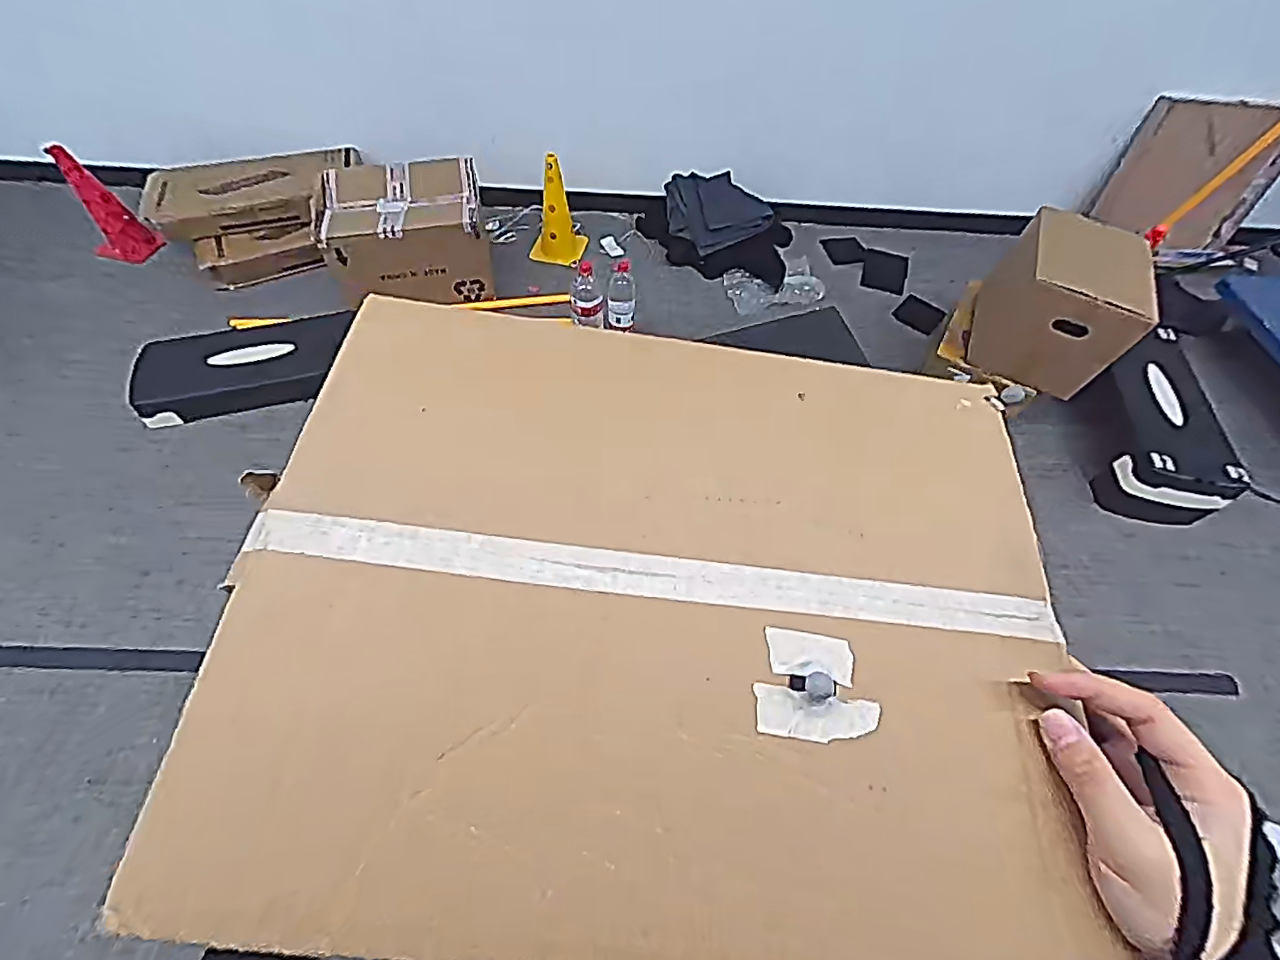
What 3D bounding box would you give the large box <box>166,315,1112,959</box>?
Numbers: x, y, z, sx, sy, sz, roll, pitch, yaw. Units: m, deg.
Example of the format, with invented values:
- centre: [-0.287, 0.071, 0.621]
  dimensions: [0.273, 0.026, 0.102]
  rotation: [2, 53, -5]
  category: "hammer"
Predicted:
- centre: [0.005, 0.120, 0.420]
  dimensions: [0.408, 0.320, 0.320]
  rotation: [8, 64, -4]
  category: "large box"
